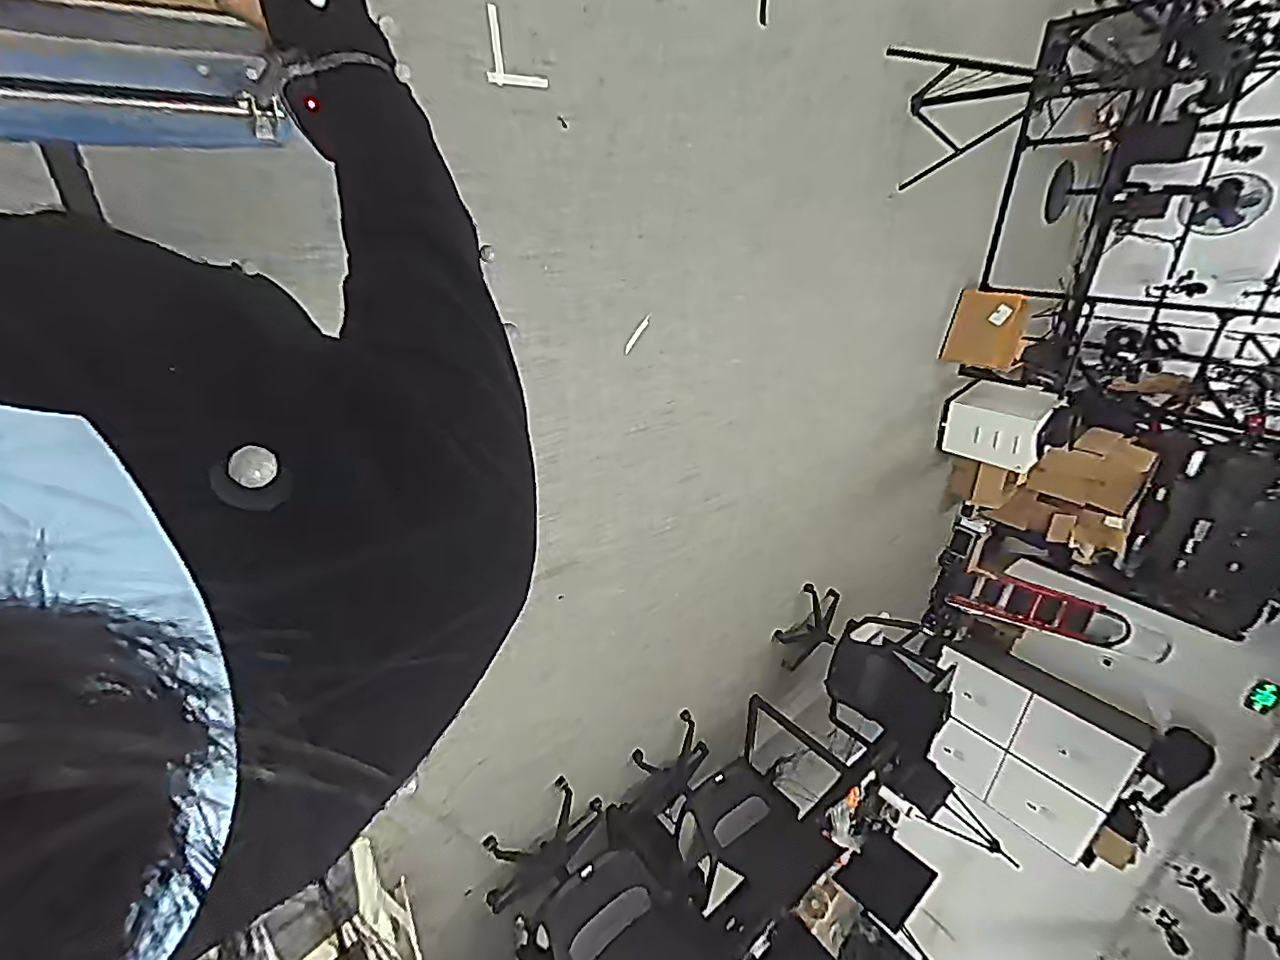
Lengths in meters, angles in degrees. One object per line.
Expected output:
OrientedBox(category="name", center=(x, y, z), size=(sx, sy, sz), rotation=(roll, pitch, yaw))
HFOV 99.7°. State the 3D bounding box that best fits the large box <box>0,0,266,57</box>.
OrientedBox(category="large box", center=(-0.757, -0.733, 0.642), size=(0.408, 0.320, 0.320), rotation=(-26, 126, -34))
